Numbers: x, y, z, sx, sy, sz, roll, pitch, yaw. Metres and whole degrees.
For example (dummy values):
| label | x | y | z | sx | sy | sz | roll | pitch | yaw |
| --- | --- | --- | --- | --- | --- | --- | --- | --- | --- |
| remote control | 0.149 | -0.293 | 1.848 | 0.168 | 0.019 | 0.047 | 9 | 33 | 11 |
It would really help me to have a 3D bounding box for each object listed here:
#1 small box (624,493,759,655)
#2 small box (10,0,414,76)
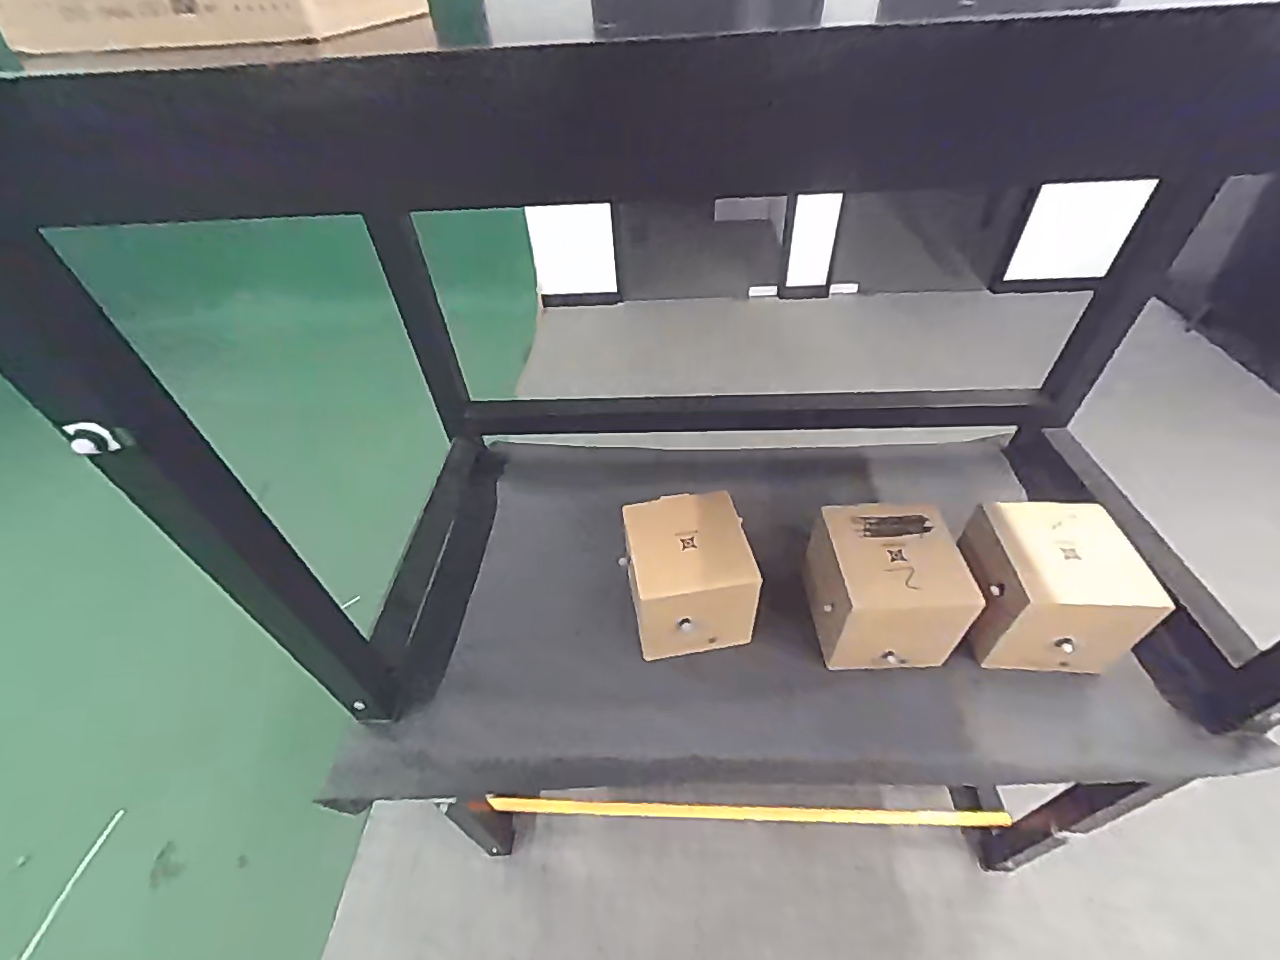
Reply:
| label | x | y | z | sx | sy | sz | roll | pitch | yaw |
| --- | --- | --- | --- | --- | --- | --- | --- | --- | --- |
| small box | 0.072 | 0.147 | 0.822 | 0.168 | 0.176 | 0.179 | -9 | 44 | -4 |
| small box | -0.245 | -0.333 | 0.291 | 0.168 | 0.176 | 0.179 | 0 | 45 | 4 |
